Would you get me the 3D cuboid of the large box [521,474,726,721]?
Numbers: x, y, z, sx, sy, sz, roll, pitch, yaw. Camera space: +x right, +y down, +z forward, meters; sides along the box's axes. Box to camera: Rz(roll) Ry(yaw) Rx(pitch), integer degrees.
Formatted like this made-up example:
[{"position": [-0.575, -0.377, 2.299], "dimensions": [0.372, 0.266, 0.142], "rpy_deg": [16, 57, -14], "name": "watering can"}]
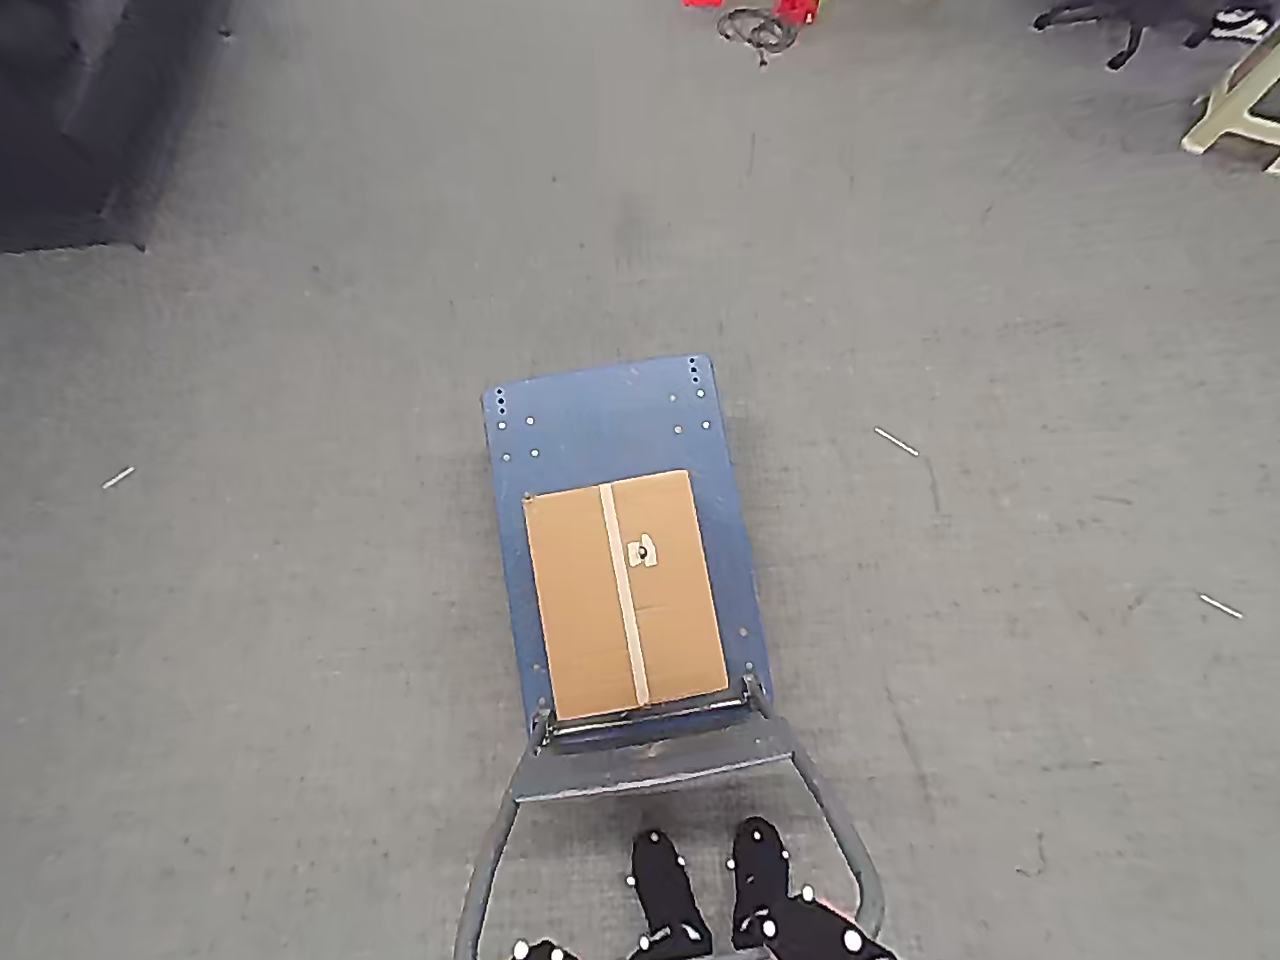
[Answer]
[{"position": [-0.031, 0.227, 1.137], "dimensions": [0.320, 0.320, 0.408], "rpy_deg": [-11, 84, -1], "name": "large box"}]
